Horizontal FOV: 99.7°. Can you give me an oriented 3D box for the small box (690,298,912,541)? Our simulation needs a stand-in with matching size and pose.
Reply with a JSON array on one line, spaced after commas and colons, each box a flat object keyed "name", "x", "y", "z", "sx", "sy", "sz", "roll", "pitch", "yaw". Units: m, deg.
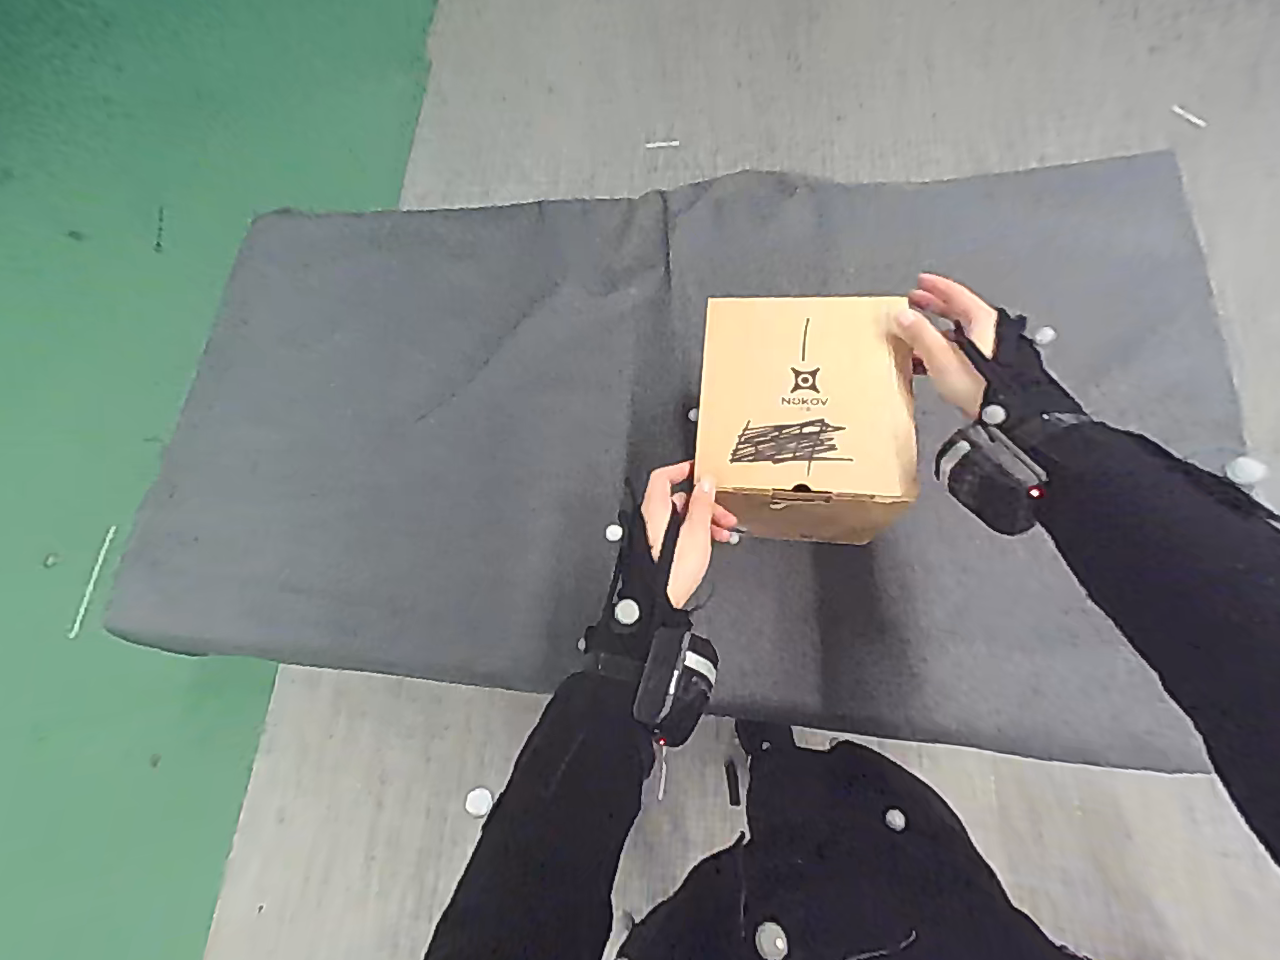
[{"name": "small box", "x": 0.141, "y": -0.046, "z": 0.507, "sx": 0.168, "sy": 0.176, "sz": 0.179, "roll": 3, "pitch": 72, "yaw": 10}]
